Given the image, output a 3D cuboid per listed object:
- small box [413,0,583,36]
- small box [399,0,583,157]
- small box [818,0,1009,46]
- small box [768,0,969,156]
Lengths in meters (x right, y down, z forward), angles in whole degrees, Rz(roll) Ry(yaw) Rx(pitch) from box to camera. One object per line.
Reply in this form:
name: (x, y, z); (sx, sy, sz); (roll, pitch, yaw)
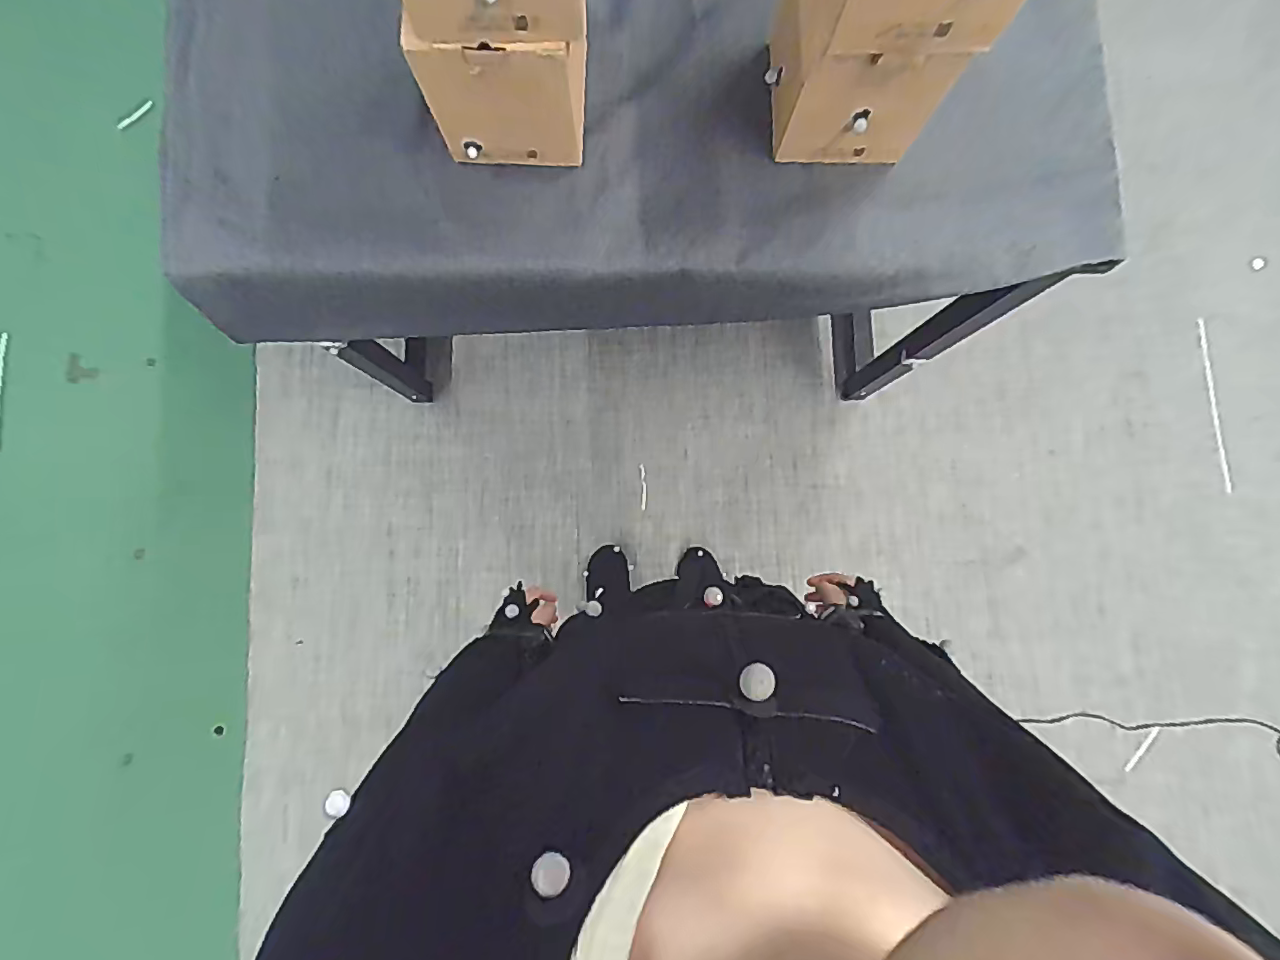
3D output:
small box: (-0.137, -0.532, 0.460); (0.168, 0.176, 0.179); (-1, 84, -1)
small box: (-0.156, -0.506, 0.622); (0.168, 0.176, 0.179); (2, 83, -1)
small box: (0.260, -0.521, 0.468); (0.168, 0.176, 0.179); (-1, 83, -2)
small box: (0.251, -0.510, 0.630); (0.168, 0.176, 0.179); (0, 85, -1)
